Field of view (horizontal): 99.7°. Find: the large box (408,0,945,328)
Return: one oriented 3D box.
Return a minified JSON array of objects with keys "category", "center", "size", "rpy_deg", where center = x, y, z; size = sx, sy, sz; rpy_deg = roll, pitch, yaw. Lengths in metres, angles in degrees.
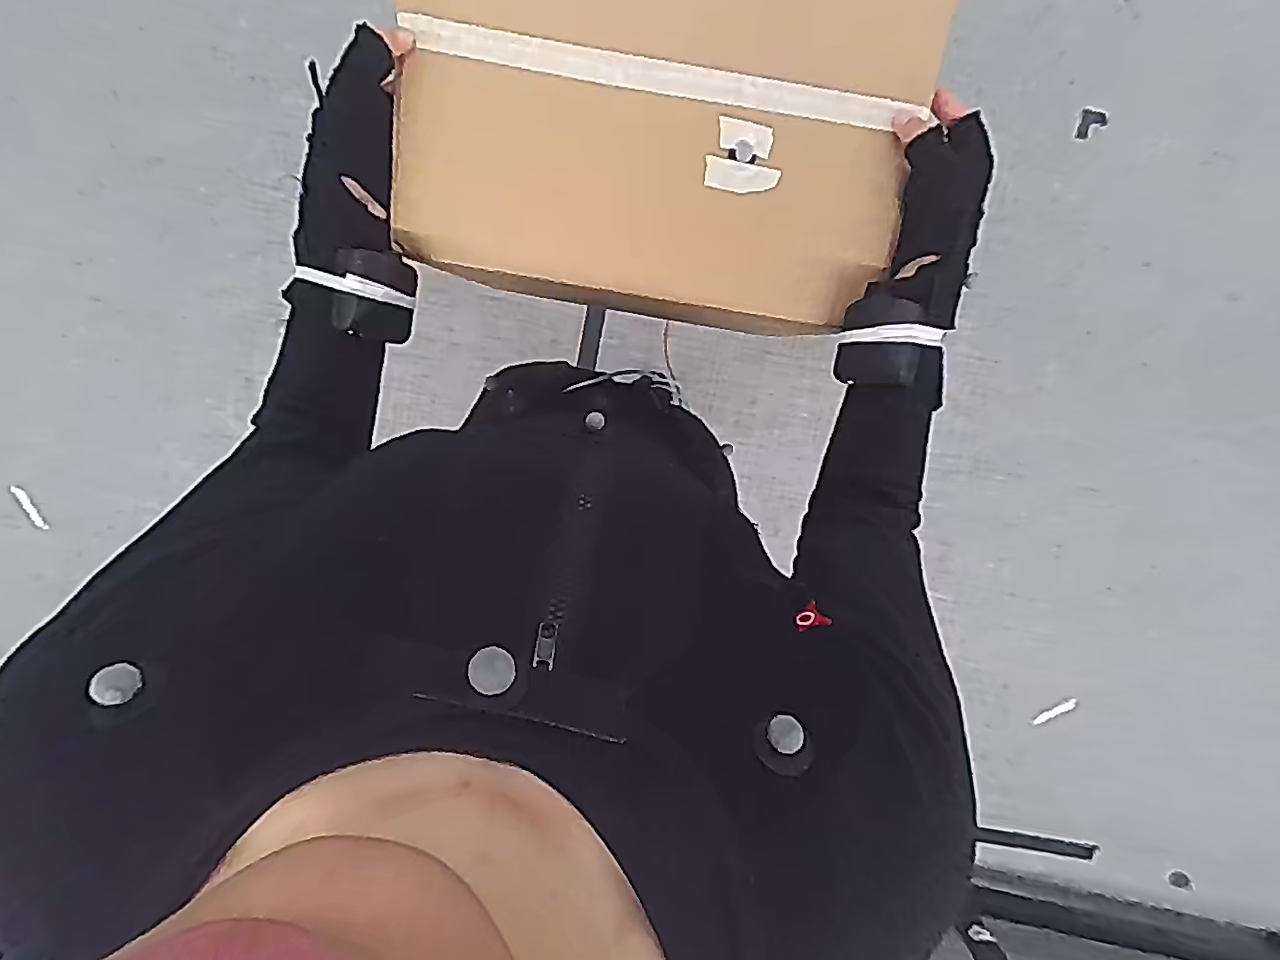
[{"category":"large box","center":[0.019,-0.346,0.564],"size":[0.408,0.320,0.320],"rpy_deg":[8,105,-4]}]
